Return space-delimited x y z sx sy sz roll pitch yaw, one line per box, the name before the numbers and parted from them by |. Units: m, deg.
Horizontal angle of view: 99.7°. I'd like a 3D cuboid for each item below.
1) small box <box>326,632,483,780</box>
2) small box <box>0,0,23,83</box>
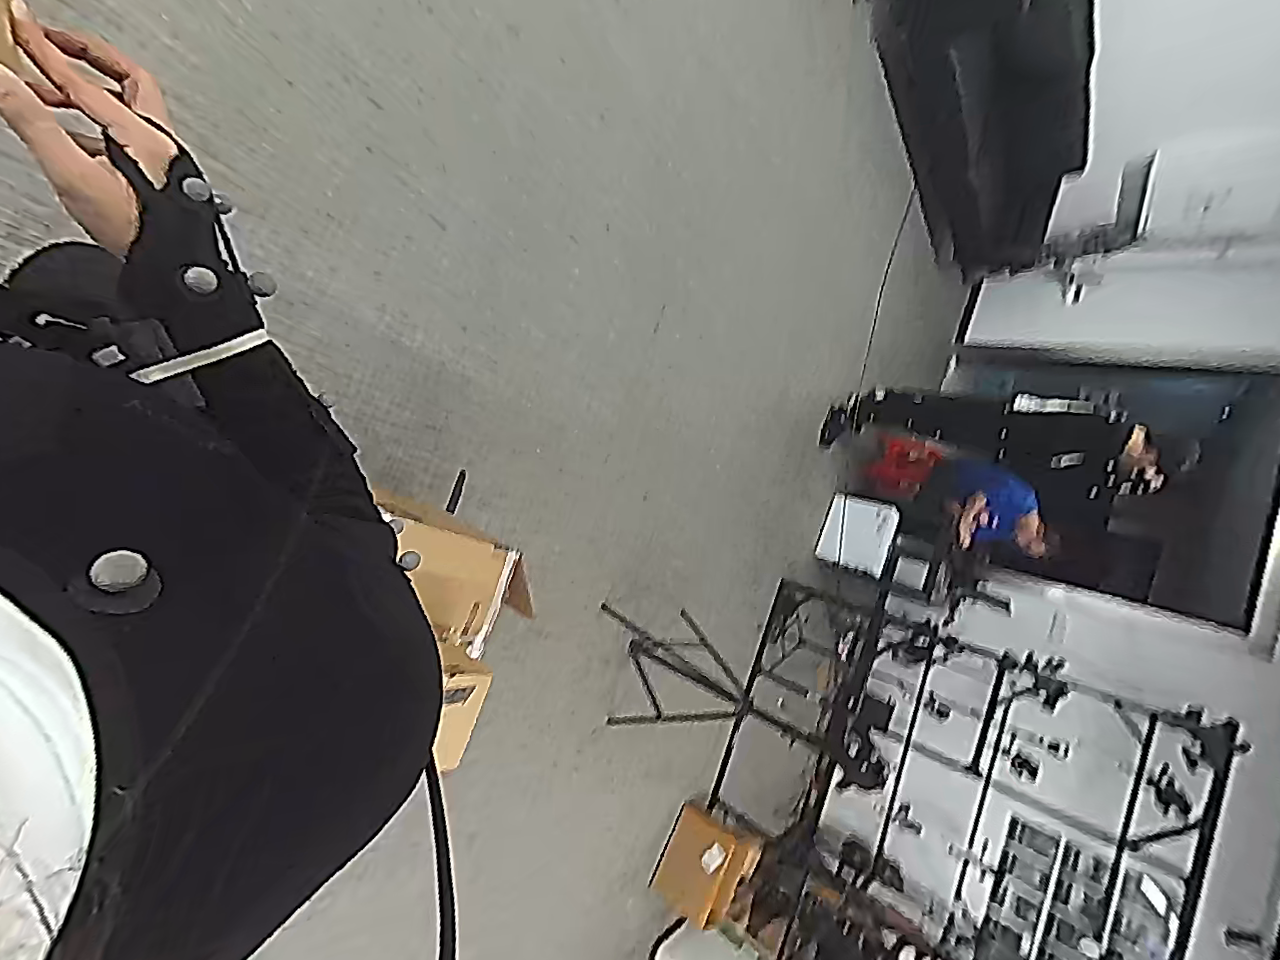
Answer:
small box | -0.410 0.380 0.935 0.168 0.176 0.179 26 84 -48
small box | -0.399 -0.305 0.221 0.179 0.176 0.168 -8 131 -44
